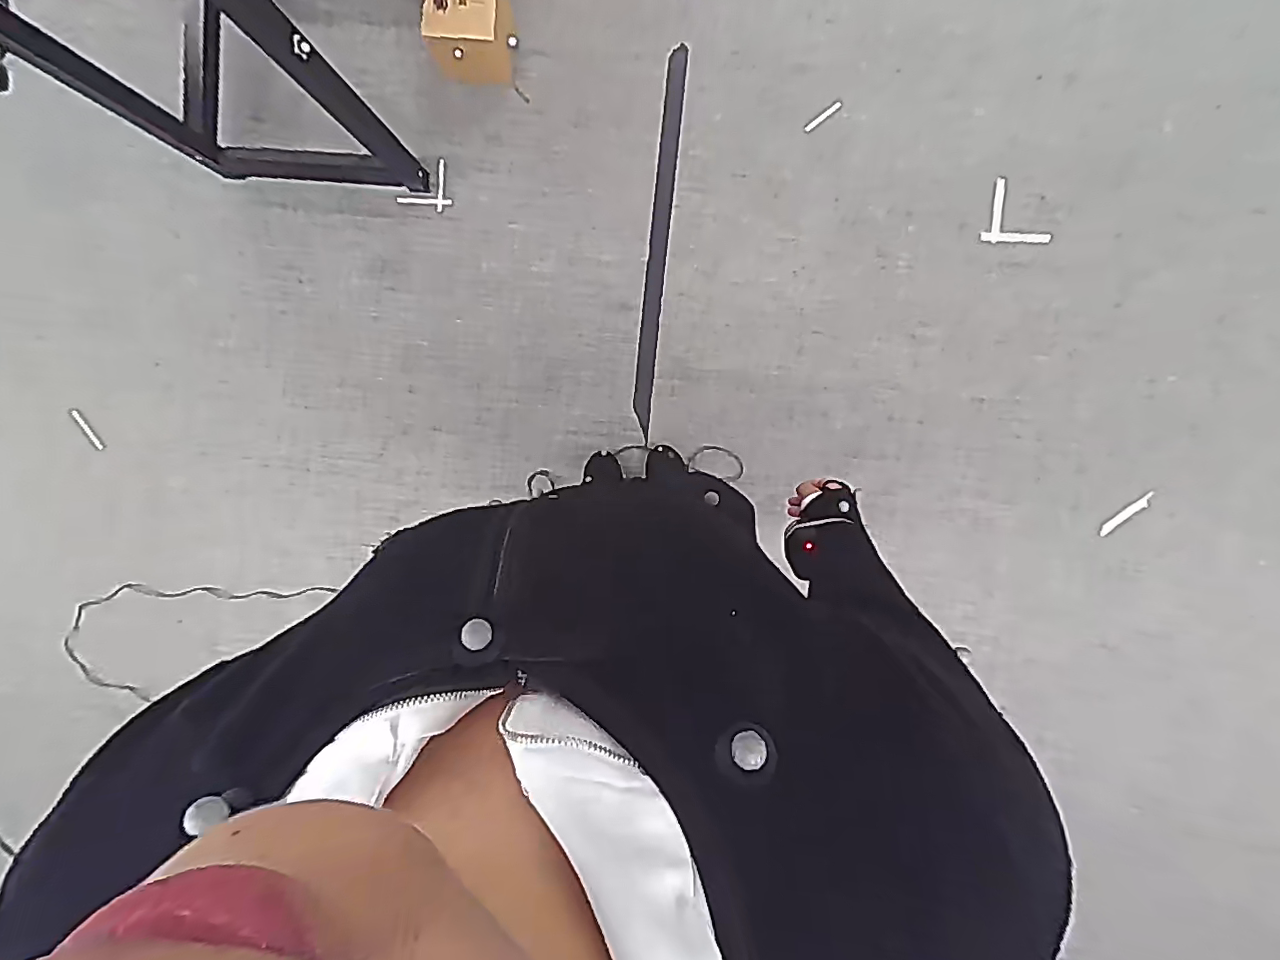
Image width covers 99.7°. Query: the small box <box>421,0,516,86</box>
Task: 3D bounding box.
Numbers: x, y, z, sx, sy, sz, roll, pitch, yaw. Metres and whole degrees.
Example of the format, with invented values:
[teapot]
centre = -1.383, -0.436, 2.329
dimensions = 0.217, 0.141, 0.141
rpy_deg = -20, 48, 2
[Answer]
[small box]
centre = -0.422, -1.117, 1.343
dimensions = 0.179, 0.176, 0.168
rpy_deg = 4, 95, 1
